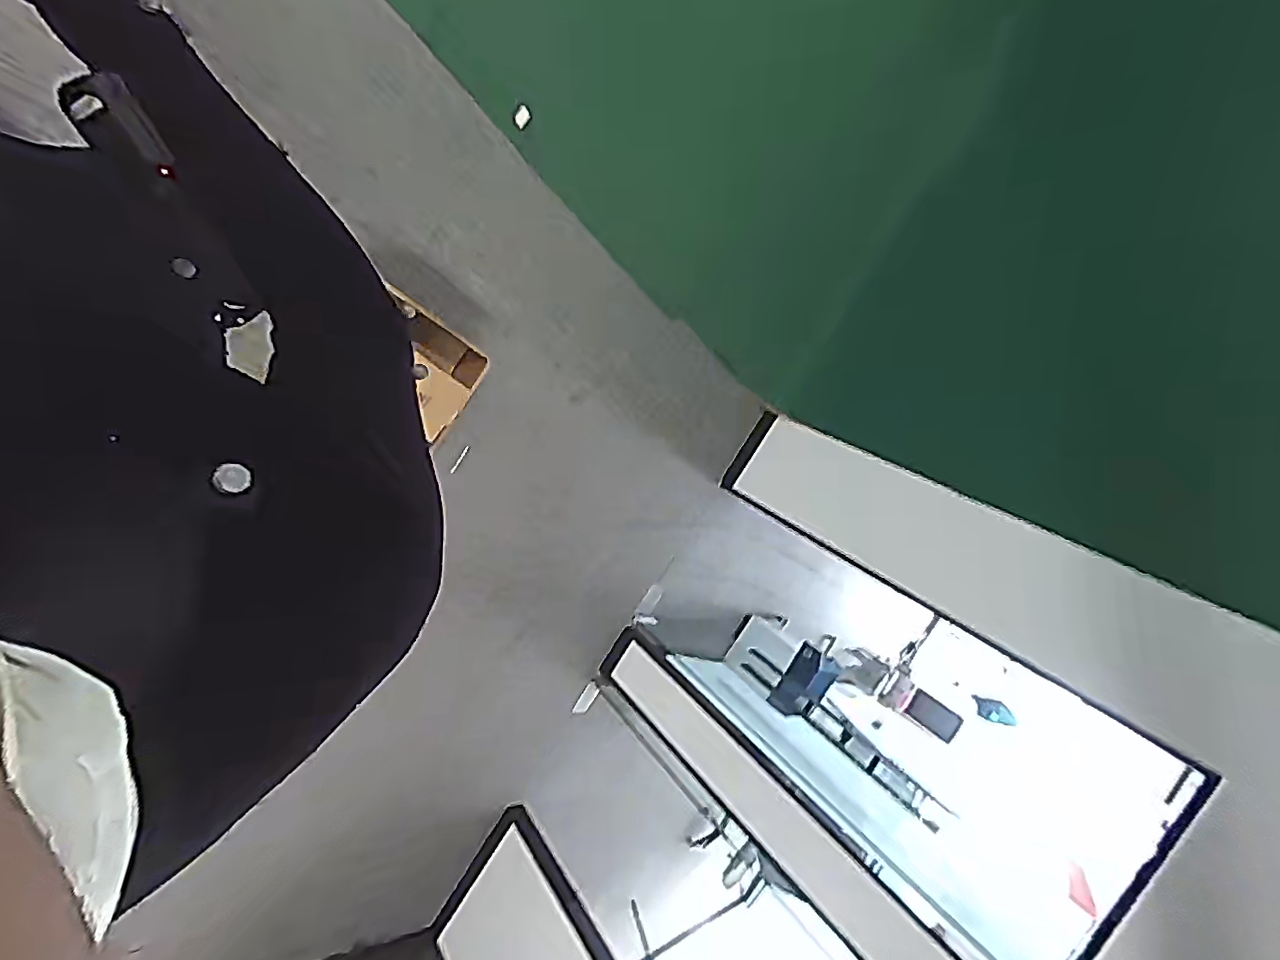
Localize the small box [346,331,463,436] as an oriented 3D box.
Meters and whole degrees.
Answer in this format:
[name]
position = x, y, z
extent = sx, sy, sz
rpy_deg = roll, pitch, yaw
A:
[small box]
position = -0.583, -0.242, 1.337
extent = 0.168, 0.176, 0.179
rpy_deg = -54, 141, -3
